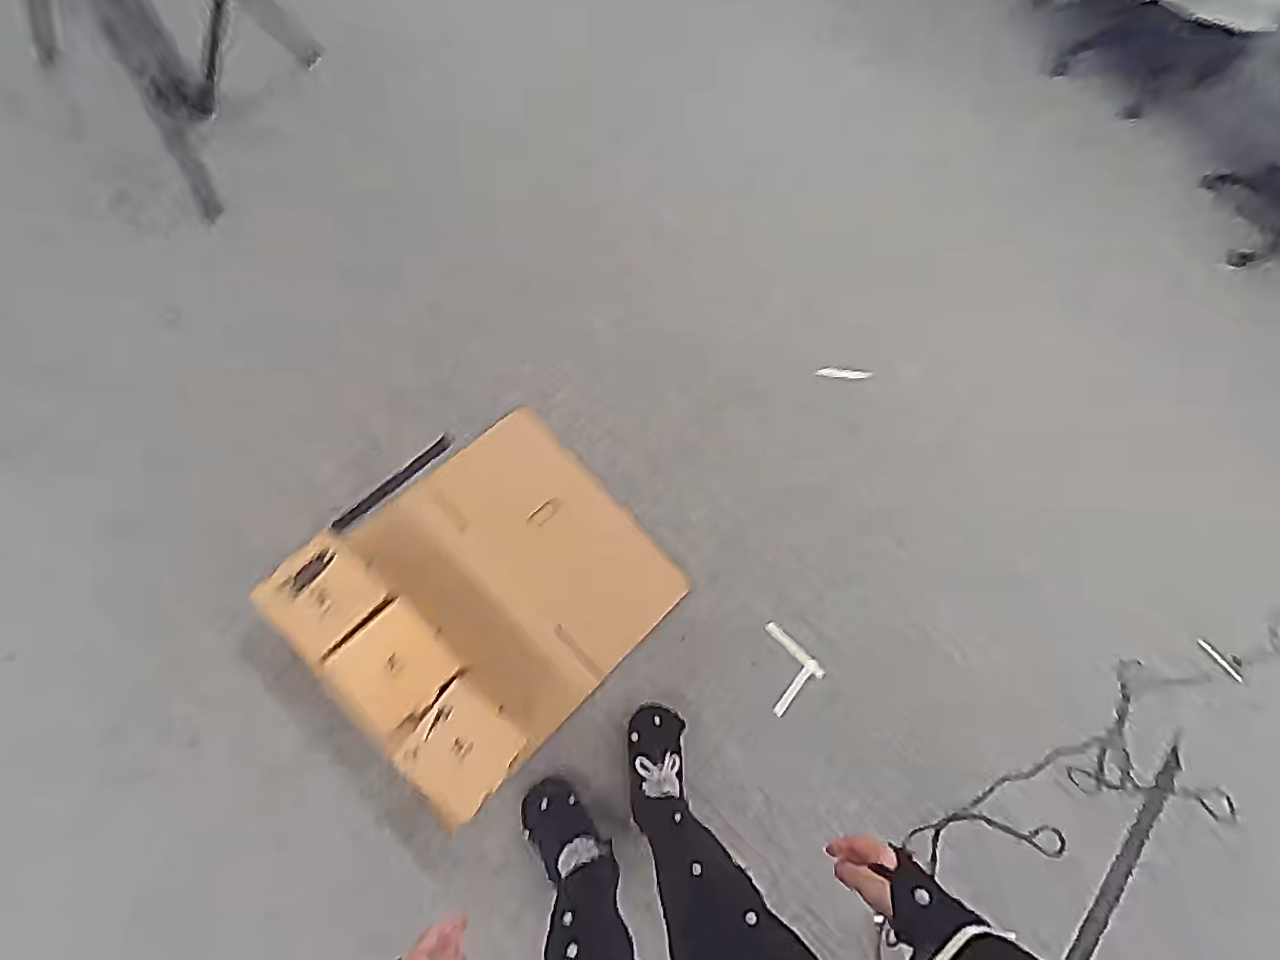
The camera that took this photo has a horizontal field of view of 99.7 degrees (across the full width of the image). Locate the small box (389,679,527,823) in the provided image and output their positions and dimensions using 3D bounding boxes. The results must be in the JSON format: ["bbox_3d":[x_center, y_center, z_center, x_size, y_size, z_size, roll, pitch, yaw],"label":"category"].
[{"bbox_3d":[-0.331,0.496,1.023,0.179,0.176,0.168,37,70,0],"label":"small box"}]
